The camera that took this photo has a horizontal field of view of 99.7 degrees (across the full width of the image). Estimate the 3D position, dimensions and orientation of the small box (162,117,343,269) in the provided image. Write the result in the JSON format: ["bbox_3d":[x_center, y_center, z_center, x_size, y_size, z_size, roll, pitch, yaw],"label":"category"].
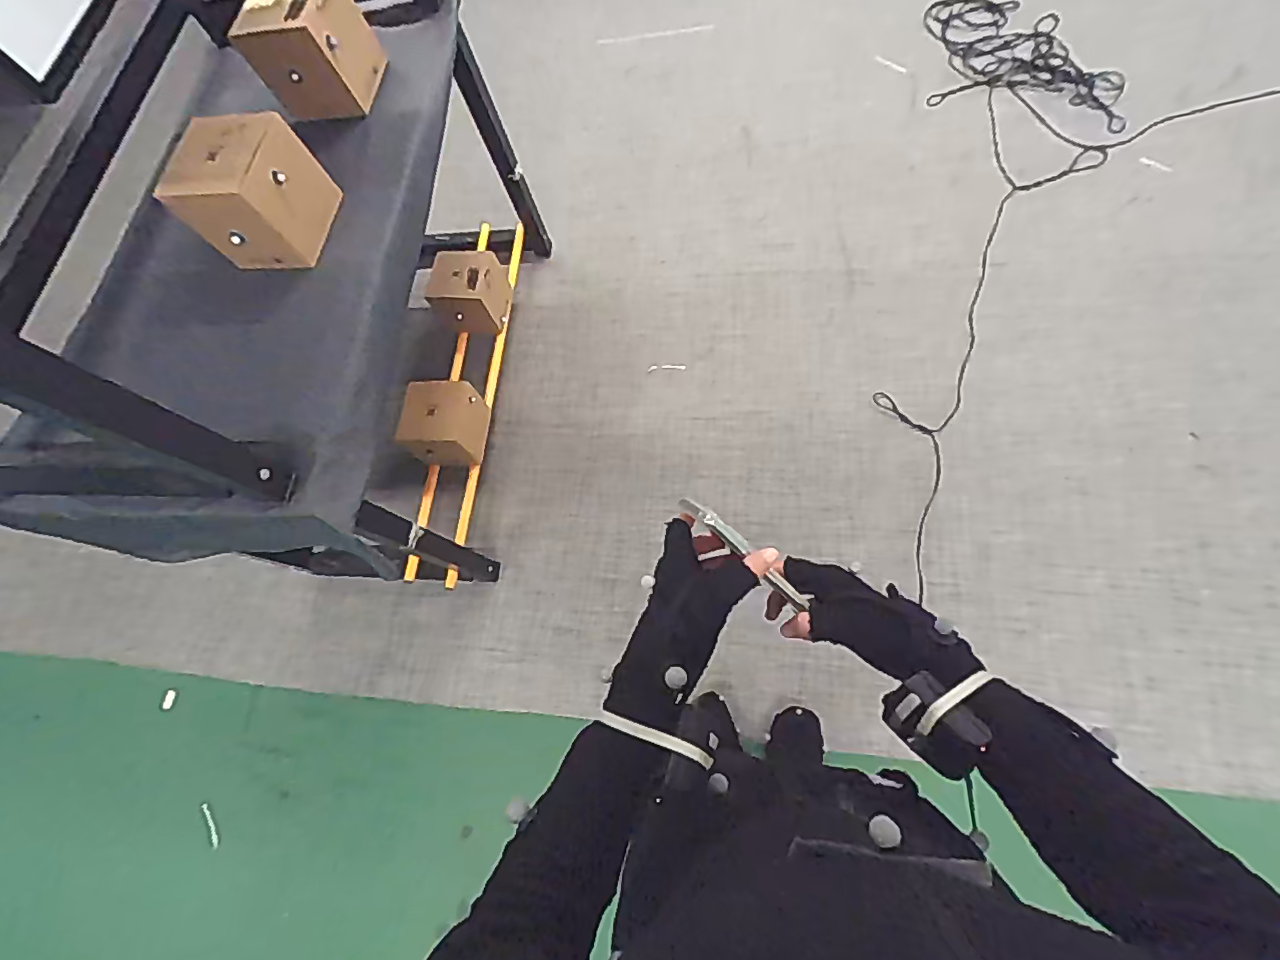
[{"bbox_3d":[-0.660,-0.490,0.946,0.168,0.176,0.179,4,71,11],"label":"small box"}]

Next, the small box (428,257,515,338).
[{"bbox_3d":[-0.492,-0.540,1.610,0.179,0.176,0.168,4,70,11],"label":"small box"}]
